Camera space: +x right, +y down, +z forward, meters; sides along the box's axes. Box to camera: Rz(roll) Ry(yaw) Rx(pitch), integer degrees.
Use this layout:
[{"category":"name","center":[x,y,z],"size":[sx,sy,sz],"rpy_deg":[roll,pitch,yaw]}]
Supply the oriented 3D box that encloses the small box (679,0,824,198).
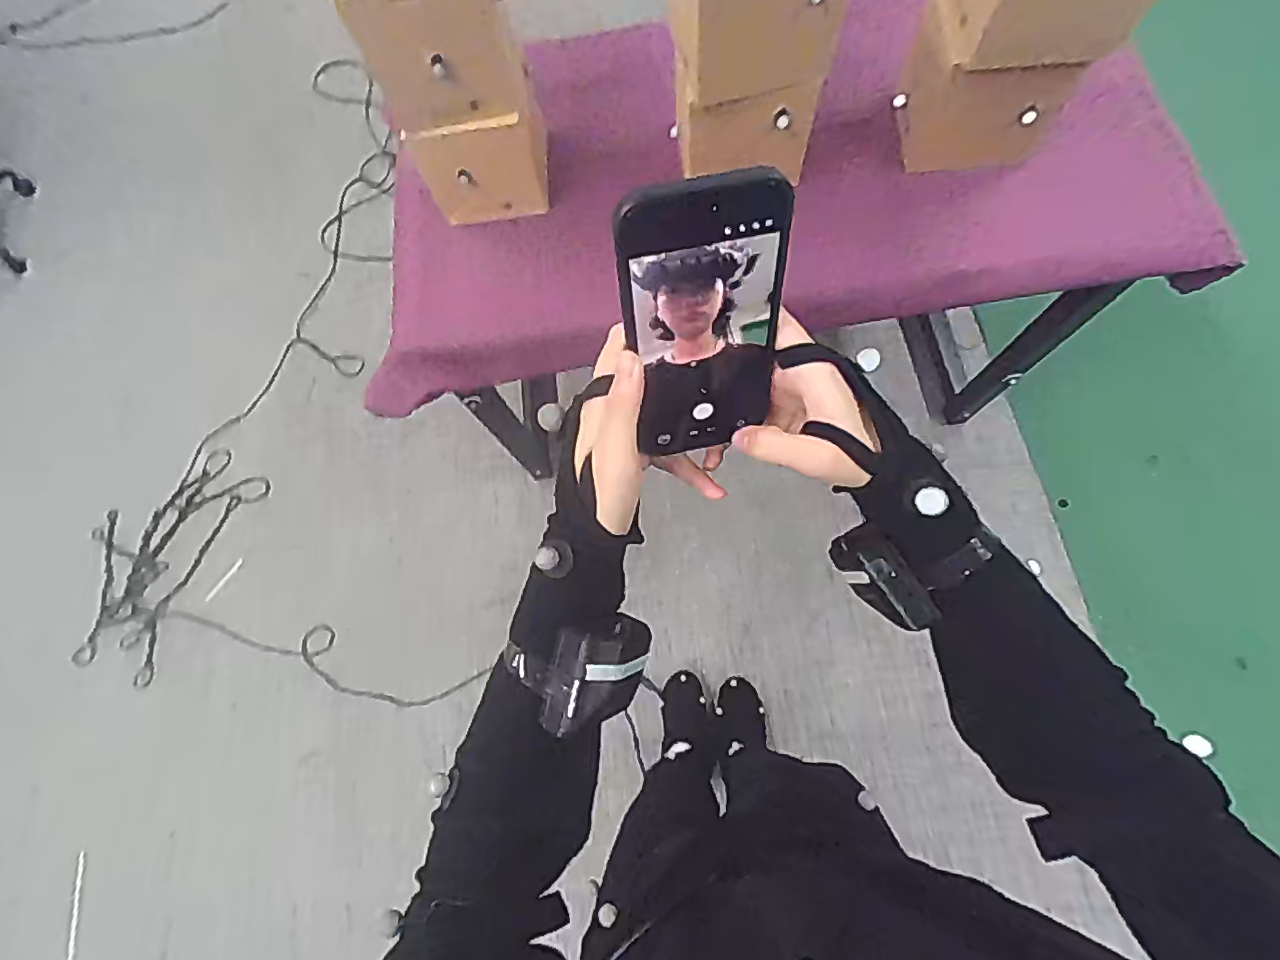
[{"category":"small box","center":[0.152,-0.552,0.798],"size":[0.179,0.176,0.168],"rpy_deg":[-6,72,4]}]

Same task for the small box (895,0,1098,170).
[{"category":"small box","center":[0.491,-0.576,0.772],"size":[0.179,0.176,0.168],"rpy_deg":[0,72,6]}]

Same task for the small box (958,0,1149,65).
[{"category":"small box","center":[0.485,-0.610,0.612],"size":[0.179,0.176,0.168],"rpy_deg":[-1,73,5]}]

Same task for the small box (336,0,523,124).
[{"category":"small box","center":[-0.253,-0.584,0.678],"size":[0.168,0.176,0.179],"rpy_deg":[-11,73,2]}]

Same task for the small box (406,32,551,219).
[{"category":"small box","center":[-0.237,-0.528,0.831],"size":[0.168,0.176,0.179],"rpy_deg":[-6,72,4]}]
